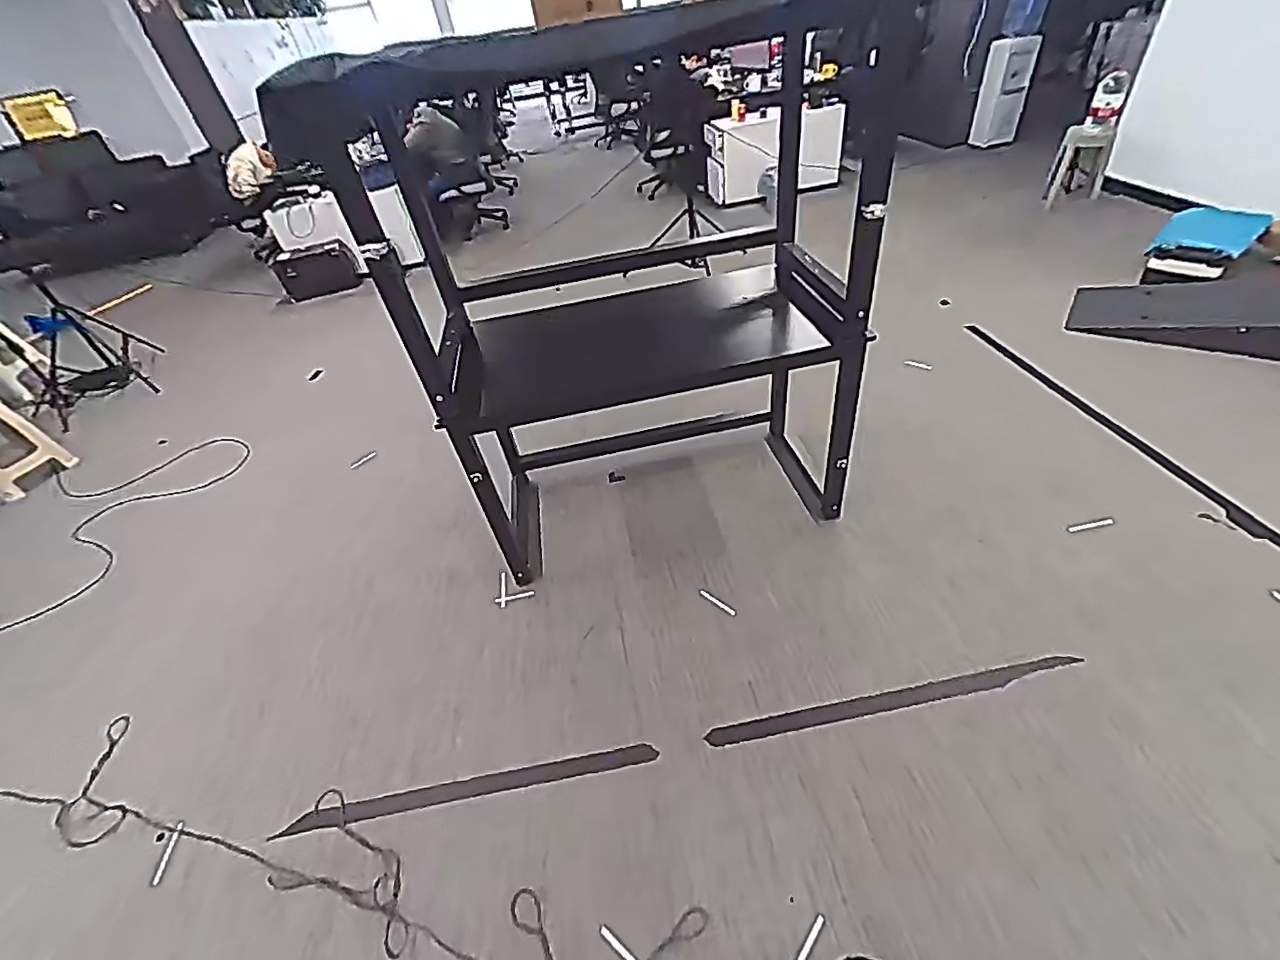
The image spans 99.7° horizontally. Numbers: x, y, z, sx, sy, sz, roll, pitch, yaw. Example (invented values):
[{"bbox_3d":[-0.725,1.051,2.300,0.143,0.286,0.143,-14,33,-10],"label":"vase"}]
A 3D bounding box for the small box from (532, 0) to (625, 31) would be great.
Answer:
[{"bbox_3d":[-0.128,-0.949,0.998,0.168,0.176,0.179,-12,39,-2],"label":"small box"}]

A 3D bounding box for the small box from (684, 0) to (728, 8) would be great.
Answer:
[{"bbox_3d":[0.166,-1.009,1.011,0.168,0.176,0.179,-9,40,1],"label":"small box"}]
